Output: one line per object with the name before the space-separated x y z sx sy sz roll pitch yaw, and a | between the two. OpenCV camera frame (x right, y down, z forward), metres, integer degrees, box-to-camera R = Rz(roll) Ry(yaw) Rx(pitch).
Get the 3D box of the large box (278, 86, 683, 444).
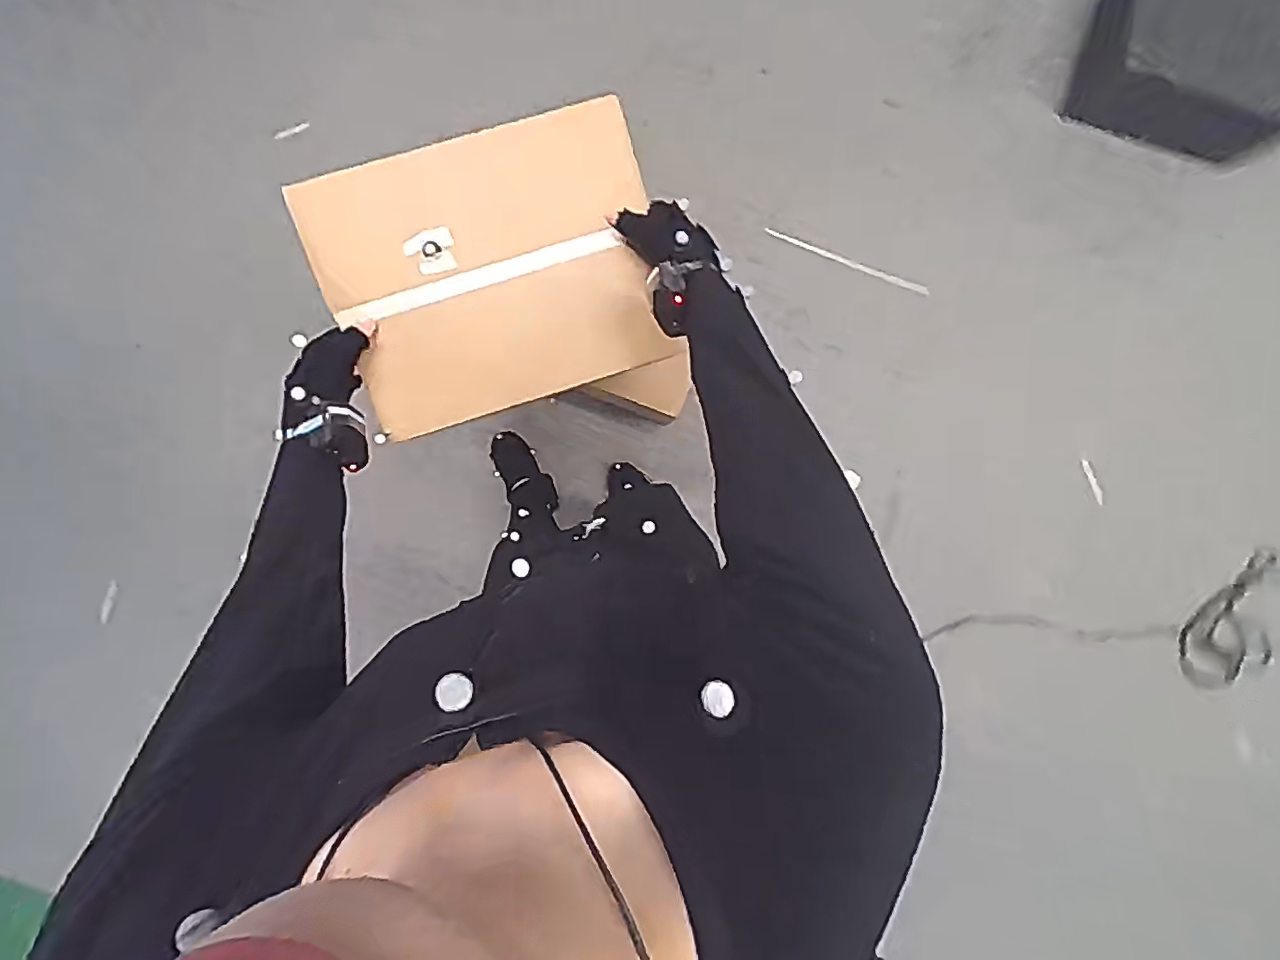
large box | -0.193 -0.283 0.793 0.408 0.320 0.320 -19 103 -3
